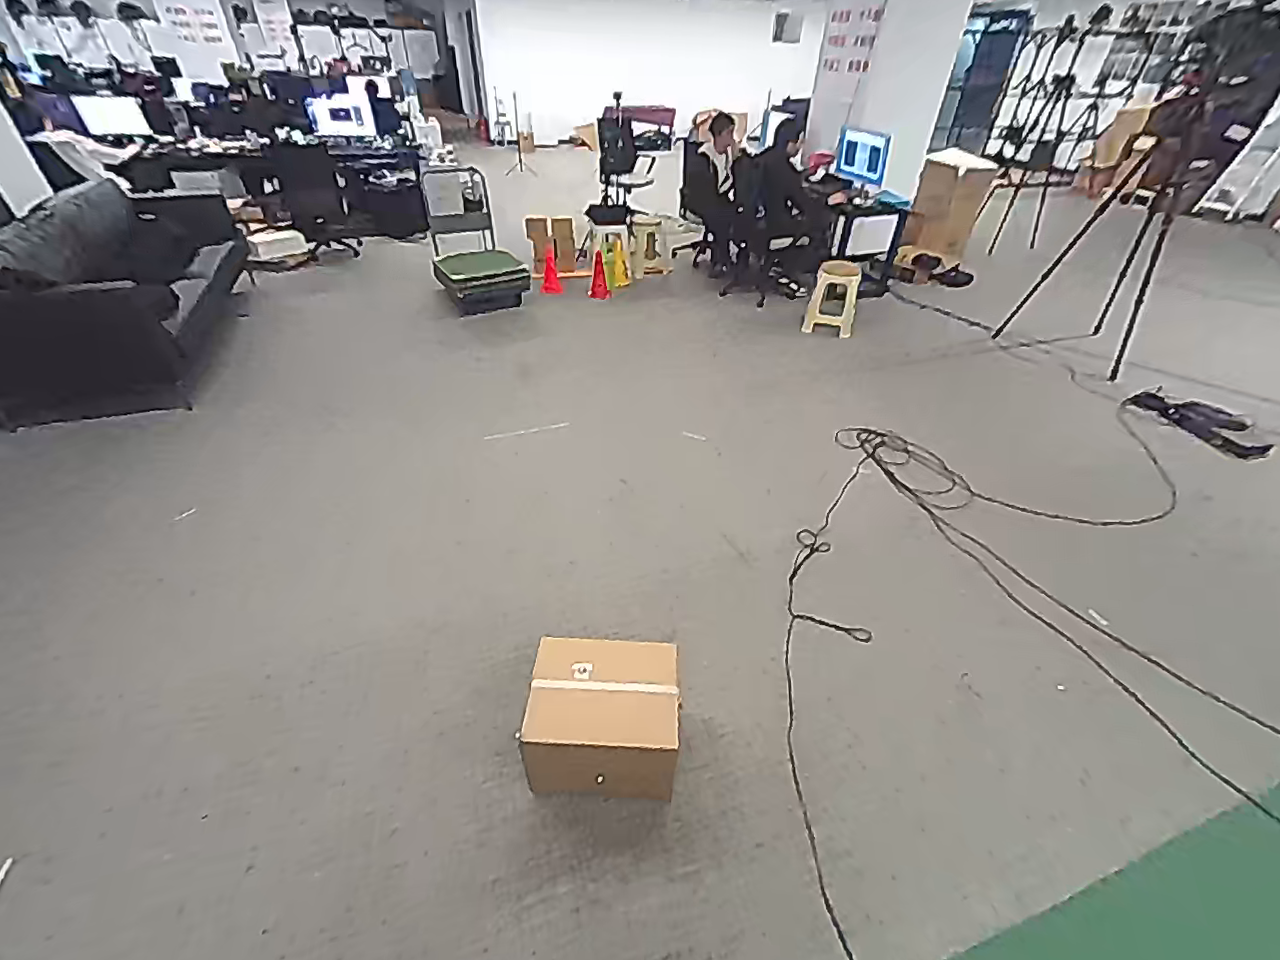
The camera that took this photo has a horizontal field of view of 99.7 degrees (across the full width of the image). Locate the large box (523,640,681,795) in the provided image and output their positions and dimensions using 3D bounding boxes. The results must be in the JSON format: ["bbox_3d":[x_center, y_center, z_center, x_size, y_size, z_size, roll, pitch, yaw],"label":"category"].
[{"bbox_3d":[-0.091,0.688,1.568,0.408,0.320,0.320,1,38,2],"label":"large box"}]
